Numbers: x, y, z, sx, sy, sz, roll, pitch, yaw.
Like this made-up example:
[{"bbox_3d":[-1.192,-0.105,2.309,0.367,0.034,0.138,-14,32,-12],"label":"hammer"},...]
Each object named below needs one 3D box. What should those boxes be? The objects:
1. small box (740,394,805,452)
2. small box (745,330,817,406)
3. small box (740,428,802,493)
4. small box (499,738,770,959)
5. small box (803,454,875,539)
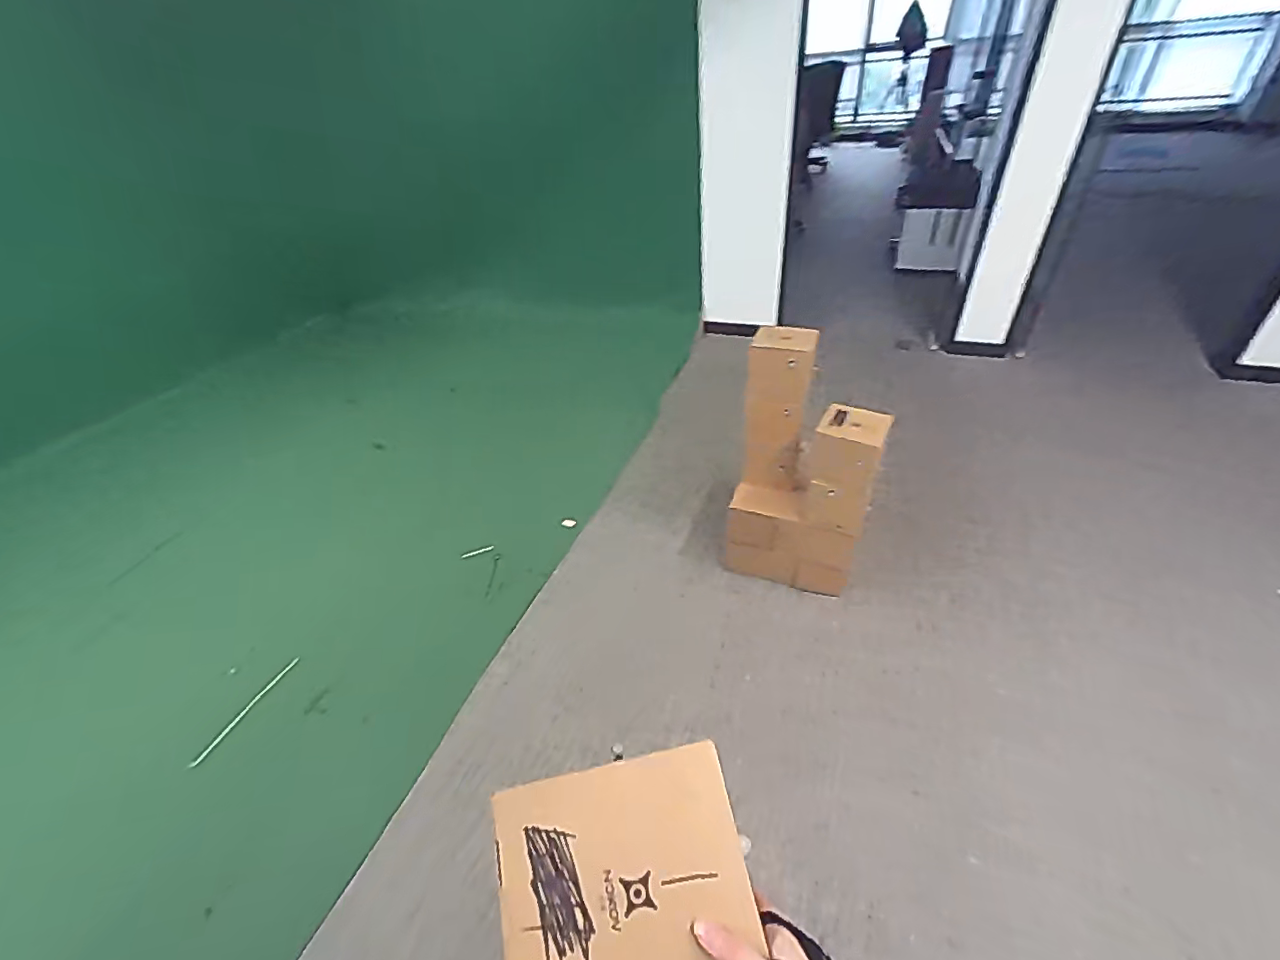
[{"bbox_3d":[0.427,-0.207,1.743,0.179,0.176,0.168,11,39,18],"label":"small box"},{"bbox_3d":[0.426,-0.340,1.645,0.179,0.176,0.168,11,38,20],"label":"small box"},{"bbox_3d":[0.443,-0.076,1.837,0.179,0.176,0.168,9,38,18],"label":"small box"},{"bbox_3d":[-0.005,0.325,0.451,0.179,0.176,0.168,-11,63,-4],"label":"small box"},{"bbox_3d":[0.604,0.048,1.654,0.168,0.176,0.179,14,41,22],"label":"small box"}]
